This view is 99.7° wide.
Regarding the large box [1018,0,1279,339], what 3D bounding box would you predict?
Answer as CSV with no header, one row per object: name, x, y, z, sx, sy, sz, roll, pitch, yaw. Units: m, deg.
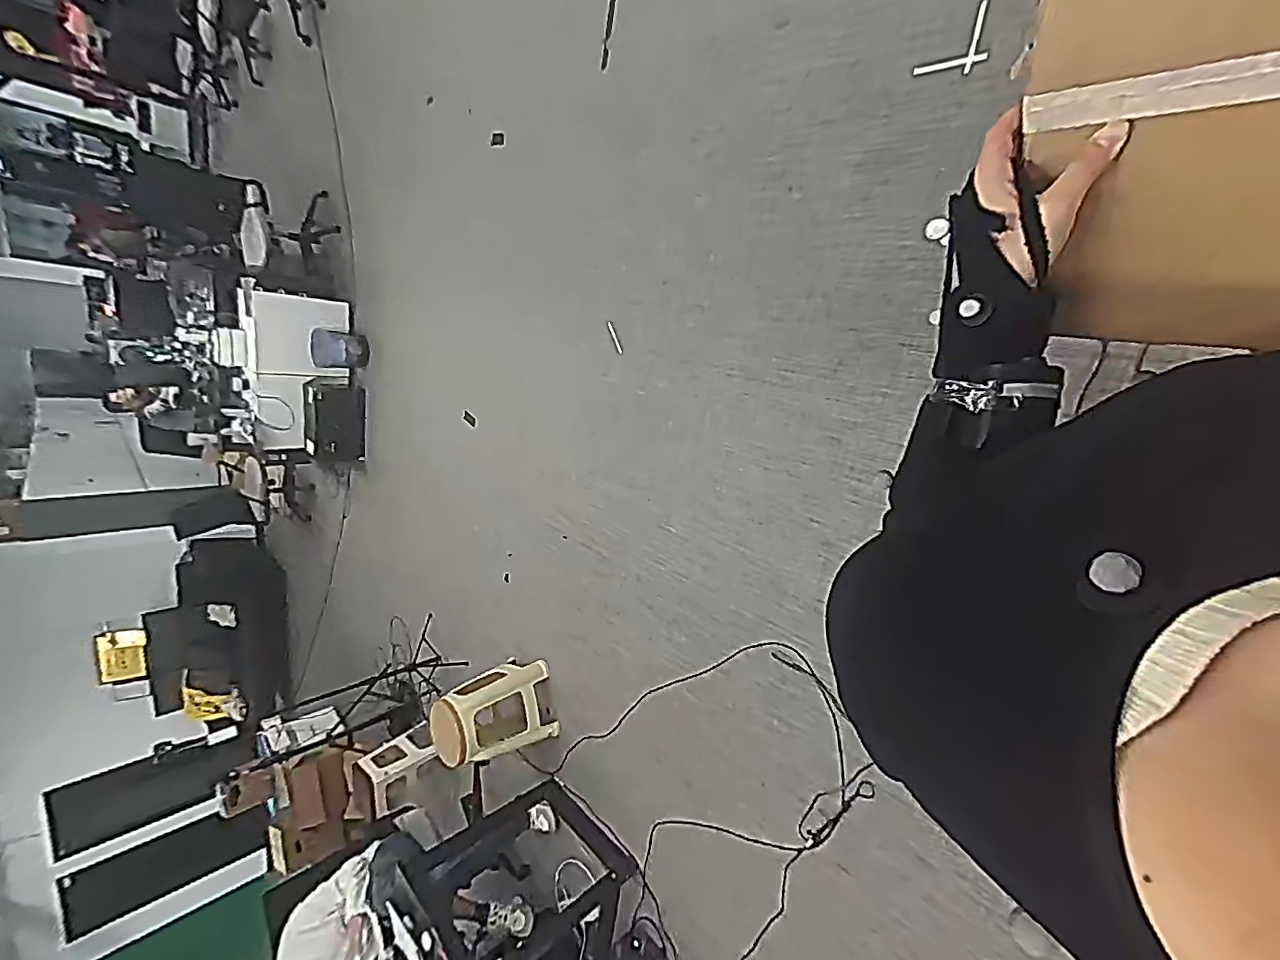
large box,0.491,-0.284,0.288,0.408,0.320,0.320,18,143,42
